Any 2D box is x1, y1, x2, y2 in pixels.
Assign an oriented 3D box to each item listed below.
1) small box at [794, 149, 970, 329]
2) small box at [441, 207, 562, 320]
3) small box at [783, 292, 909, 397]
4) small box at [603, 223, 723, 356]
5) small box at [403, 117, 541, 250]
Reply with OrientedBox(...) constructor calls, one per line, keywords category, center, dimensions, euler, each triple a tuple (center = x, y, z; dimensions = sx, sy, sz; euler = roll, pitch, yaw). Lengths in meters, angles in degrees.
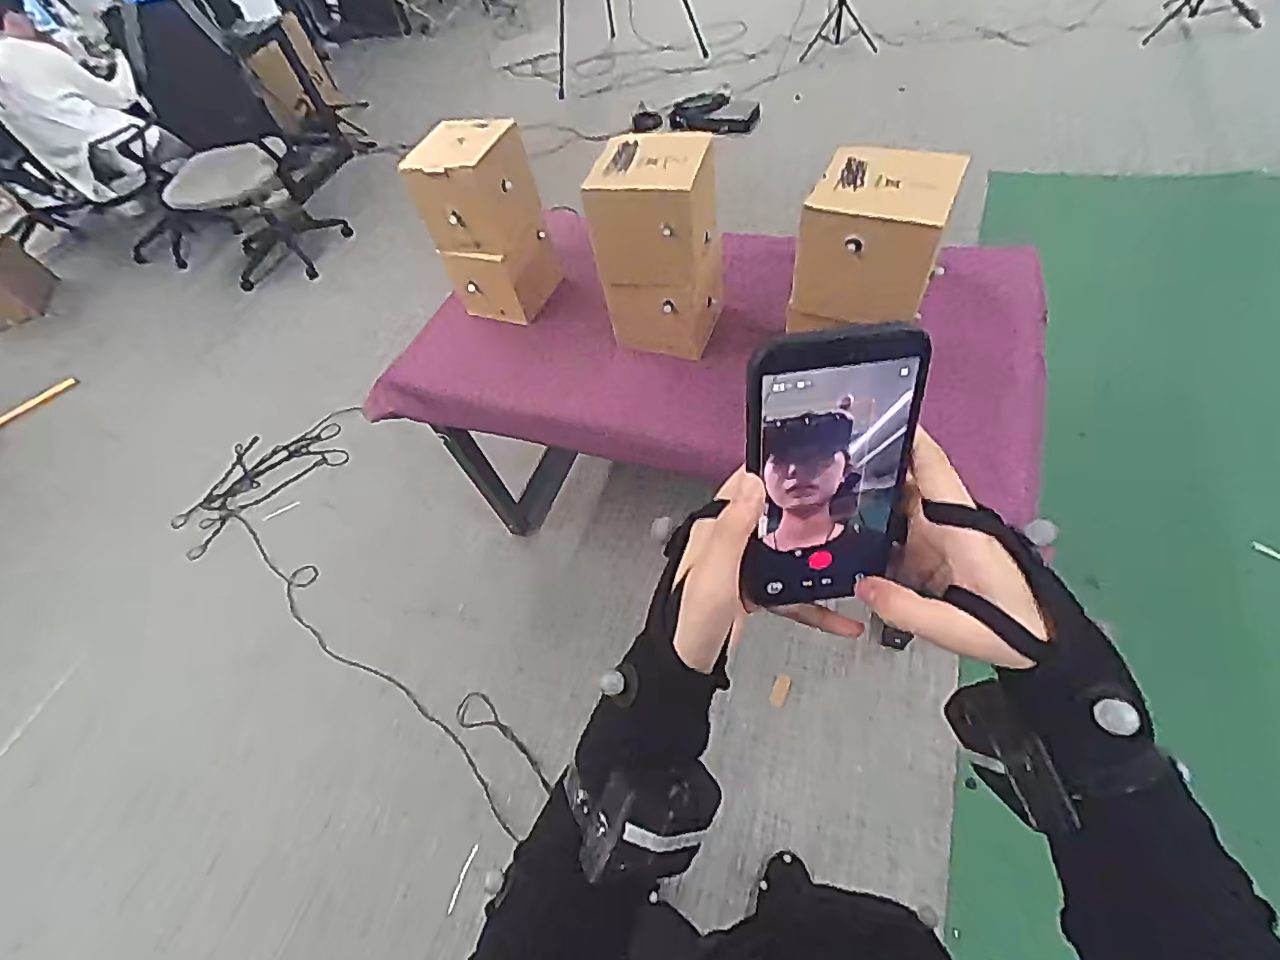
OrientedBox(category="small box", center=(0.334, -0.342, 0.776), dimensions=(0.179, 0.176, 0.168), euler=(21, 62, 22))
OrientedBox(category="small box", center=(-0.291, -0.476, 1.184), dimensions=(0.168, 0.176, 0.179), euler=(16, 61, 20))
OrientedBox(category="small box", center=(0.358, -0.265, 0.920), dimensions=(0.179, 0.176, 0.168), euler=(21, 62, 23))
OrientedBox(category="small box", center=(0.054, -0.362, 1.041), dimensions=(0.179, 0.176, 0.168), euler=(15, 60, 20))
OrientedBox(category="small box", center=(-0.314, -0.573, 1.053), dimensions=(0.168, 0.176, 0.179), euler=(12, 60, 17))
